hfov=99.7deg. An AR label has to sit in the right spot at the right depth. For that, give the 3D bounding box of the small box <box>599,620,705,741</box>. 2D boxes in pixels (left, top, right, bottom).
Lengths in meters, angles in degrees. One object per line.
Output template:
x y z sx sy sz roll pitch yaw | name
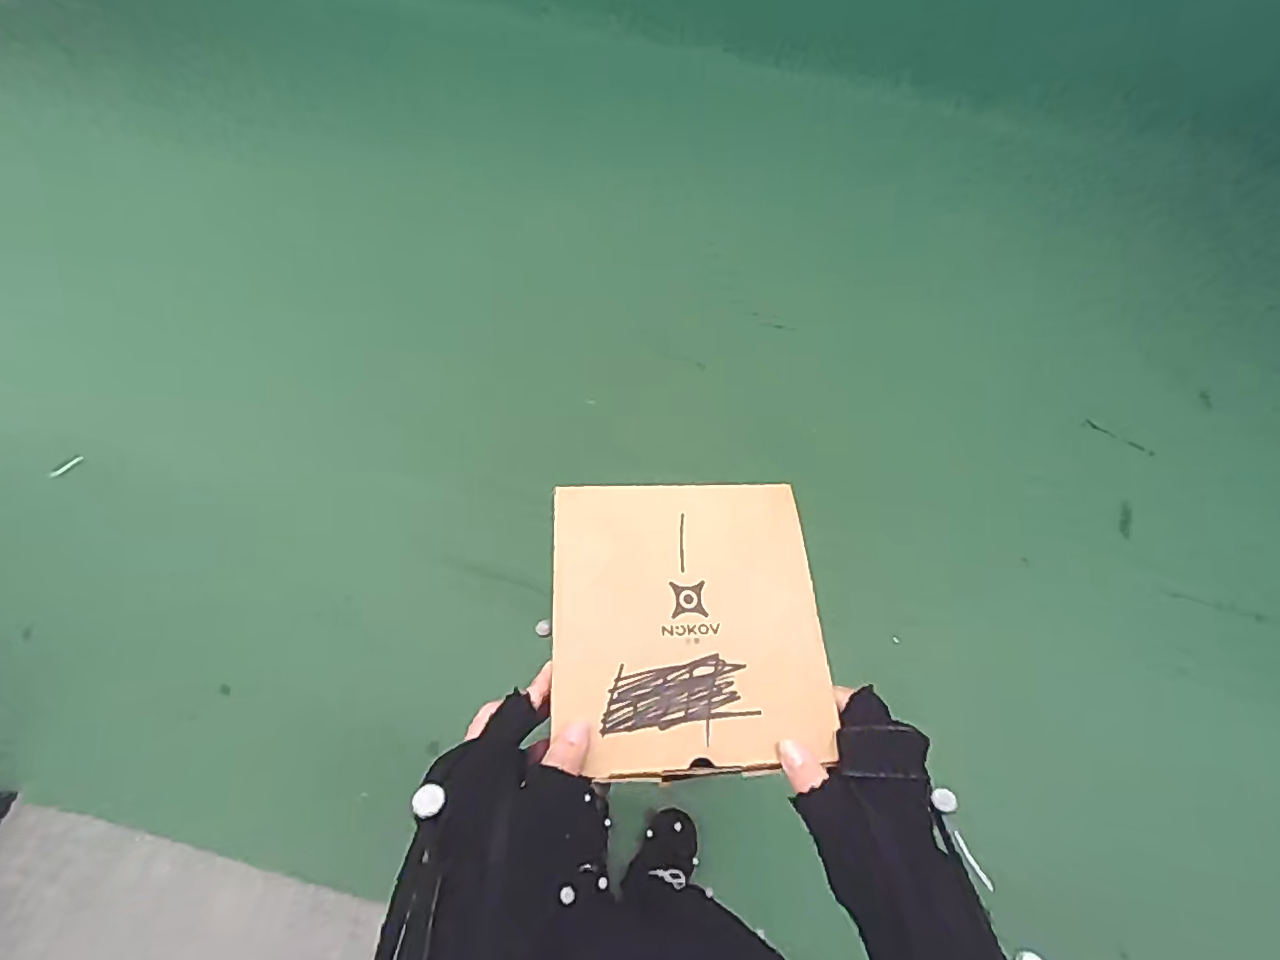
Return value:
0.020 0.395 1.057 0.168 0.176 0.179 14 63 4 | small box

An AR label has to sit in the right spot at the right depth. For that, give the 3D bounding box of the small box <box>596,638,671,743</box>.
0.004 0.469 1.203 0.168 0.176 0.179 14 66 5 | small box
